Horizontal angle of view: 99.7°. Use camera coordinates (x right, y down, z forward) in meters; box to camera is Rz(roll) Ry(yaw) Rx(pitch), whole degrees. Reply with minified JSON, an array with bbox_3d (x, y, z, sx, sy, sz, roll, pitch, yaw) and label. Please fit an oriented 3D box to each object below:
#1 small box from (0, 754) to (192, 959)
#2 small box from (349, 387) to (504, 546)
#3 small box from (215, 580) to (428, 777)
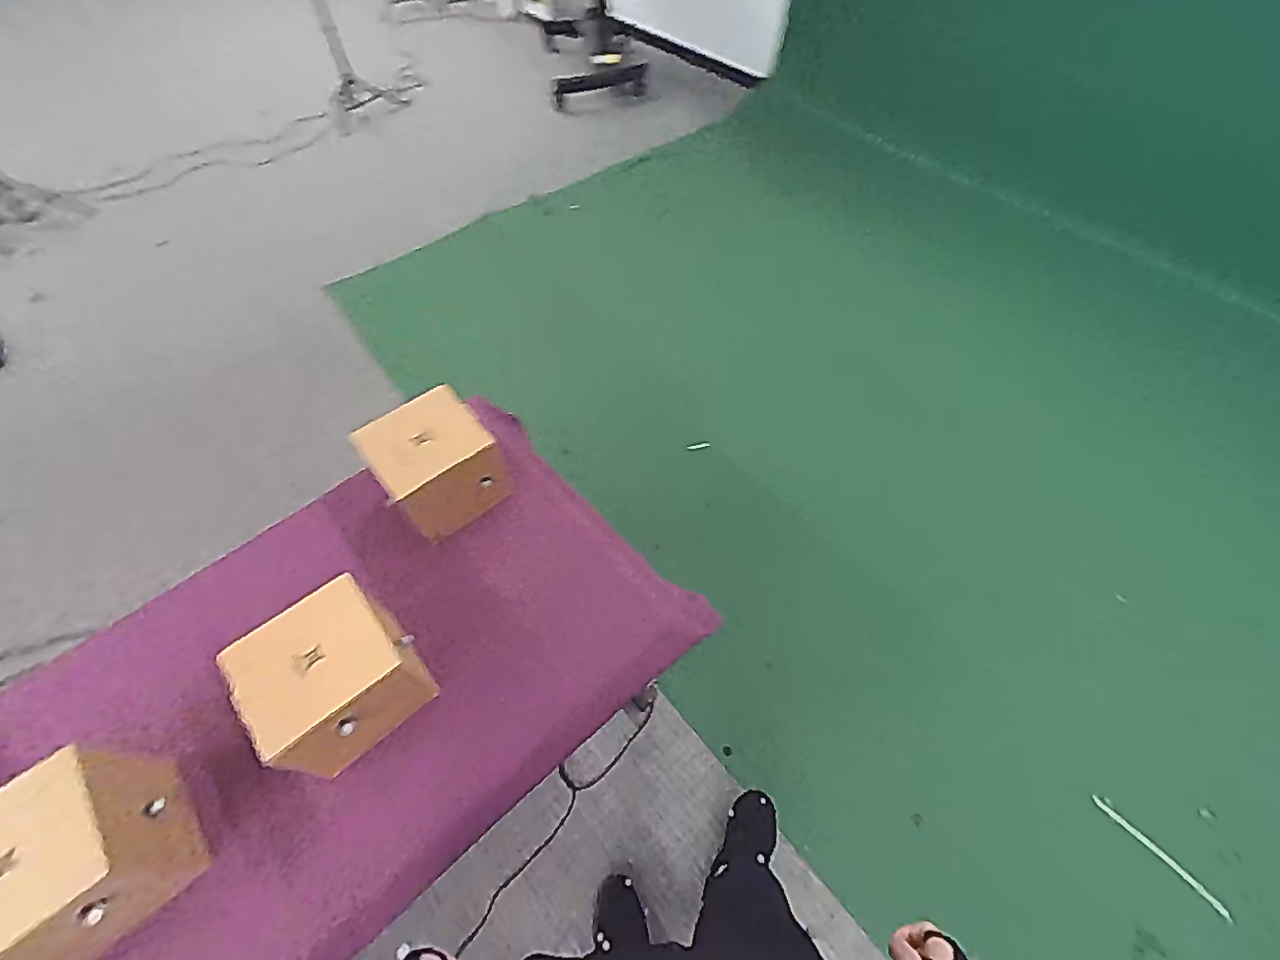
[{"bbox_3d":[-0.667,0.452,0.620,0.179,0.176,0.168,-36,64,-22],"label":"small box"},{"bbox_3d":[-0.353,-0.020,0.931,0.179,0.176,0.168,-36,65,-20],"label":"small box"},{"bbox_3d":[-0.417,0.275,0.742,0.179,0.176,0.168,-37,65,-21],"label":"small box"}]
